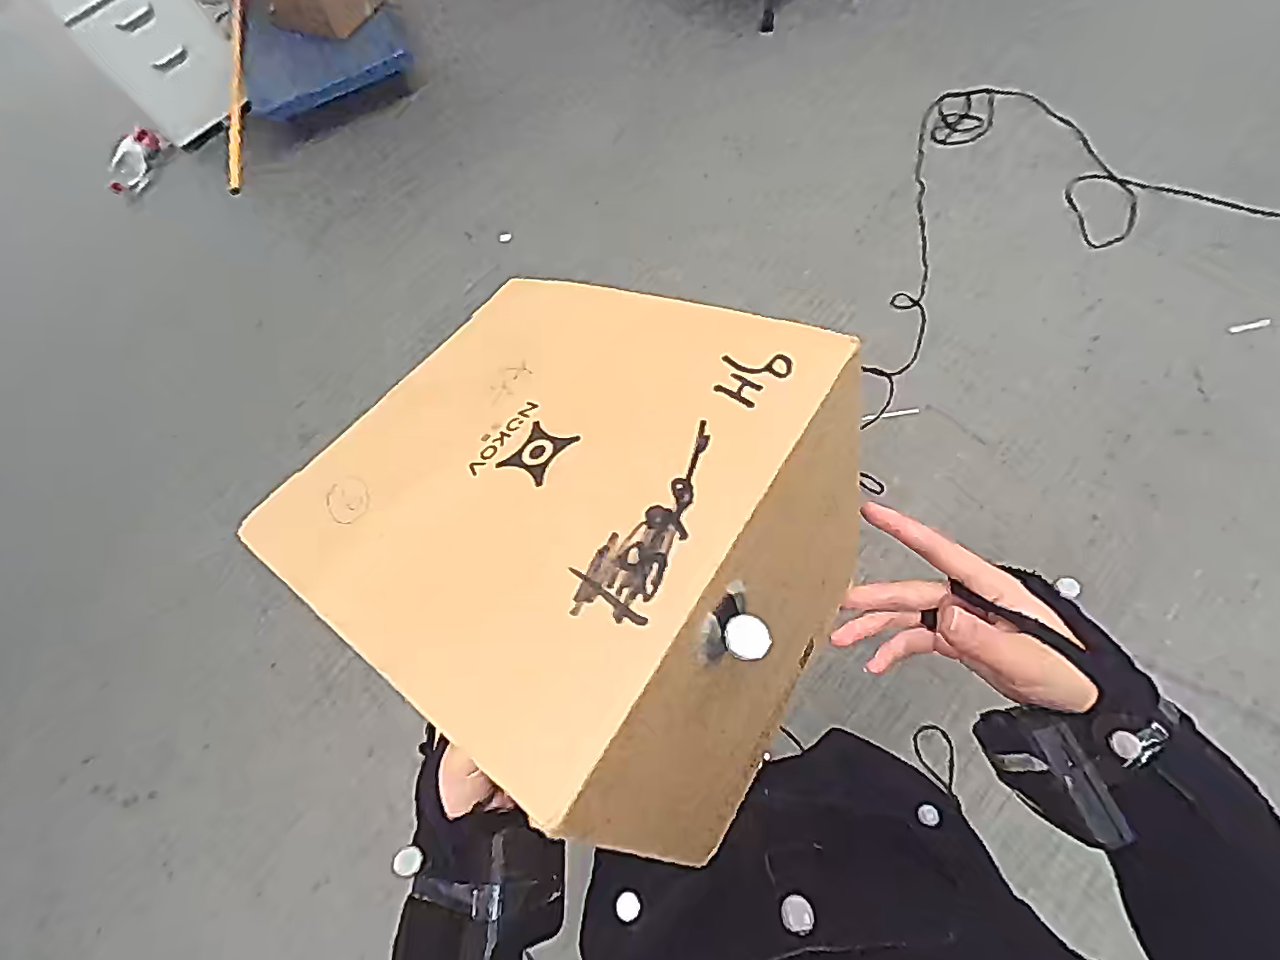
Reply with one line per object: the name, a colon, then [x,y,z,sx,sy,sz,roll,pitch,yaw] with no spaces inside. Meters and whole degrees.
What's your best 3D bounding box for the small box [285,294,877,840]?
small box: [-0.008,0.040,0.259,0.179,0.176,0.168,22,65,33]
